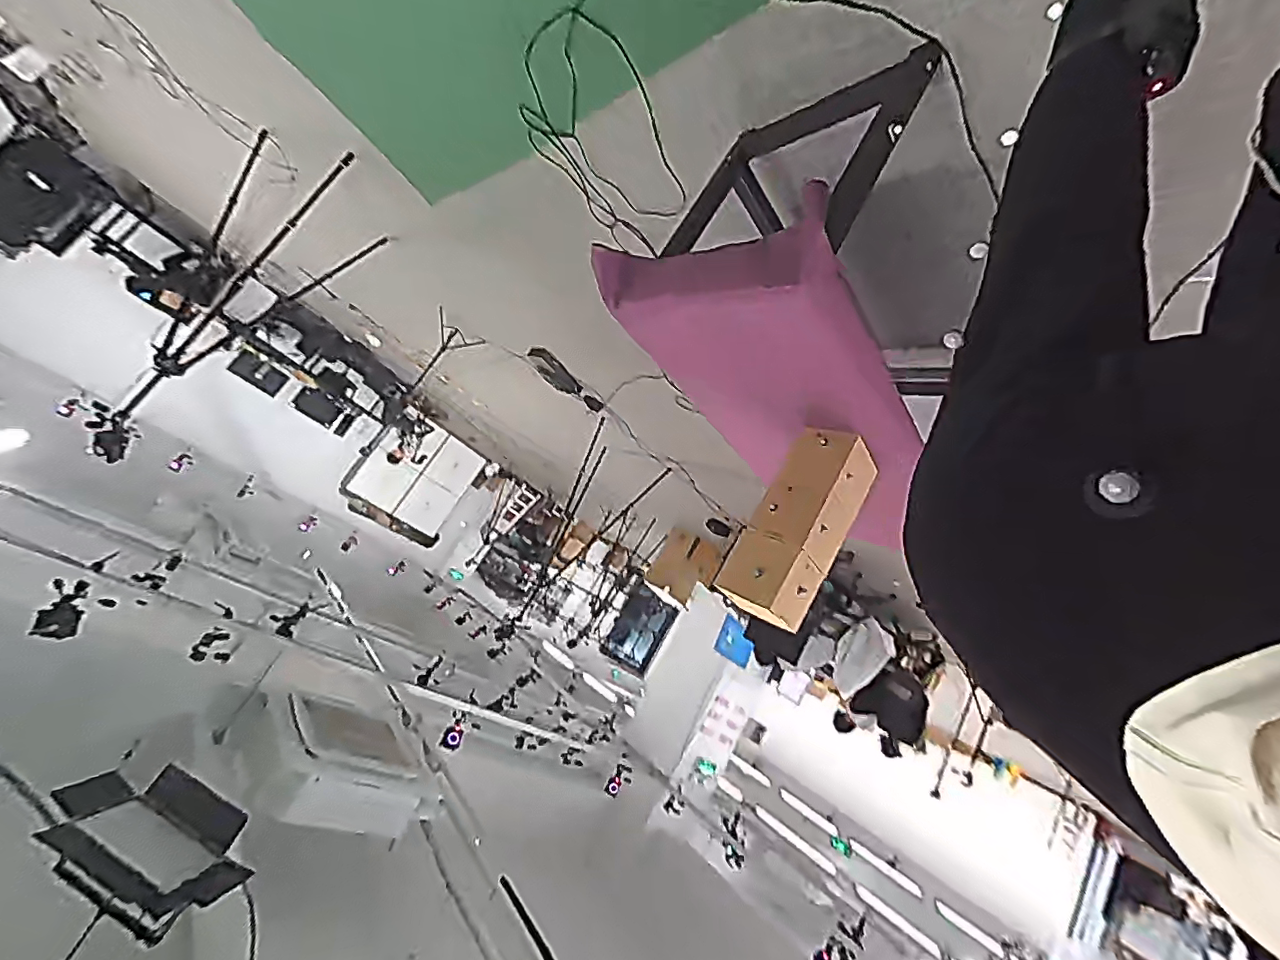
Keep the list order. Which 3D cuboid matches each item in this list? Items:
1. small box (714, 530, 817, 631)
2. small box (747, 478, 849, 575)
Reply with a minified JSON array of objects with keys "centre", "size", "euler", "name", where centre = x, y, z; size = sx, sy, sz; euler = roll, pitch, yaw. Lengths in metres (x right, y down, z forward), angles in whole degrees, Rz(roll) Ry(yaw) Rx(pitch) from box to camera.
[{"centre":[0.324,0.247,1.362],"size":[0.179,0.176,0.168],"euler":[17,159,46],"name":"small box"},{"centre":[0.413,0.114,1.396],"size":[0.168,0.176,0.179],"euler":[18,160,46],"name":"small box"}]
